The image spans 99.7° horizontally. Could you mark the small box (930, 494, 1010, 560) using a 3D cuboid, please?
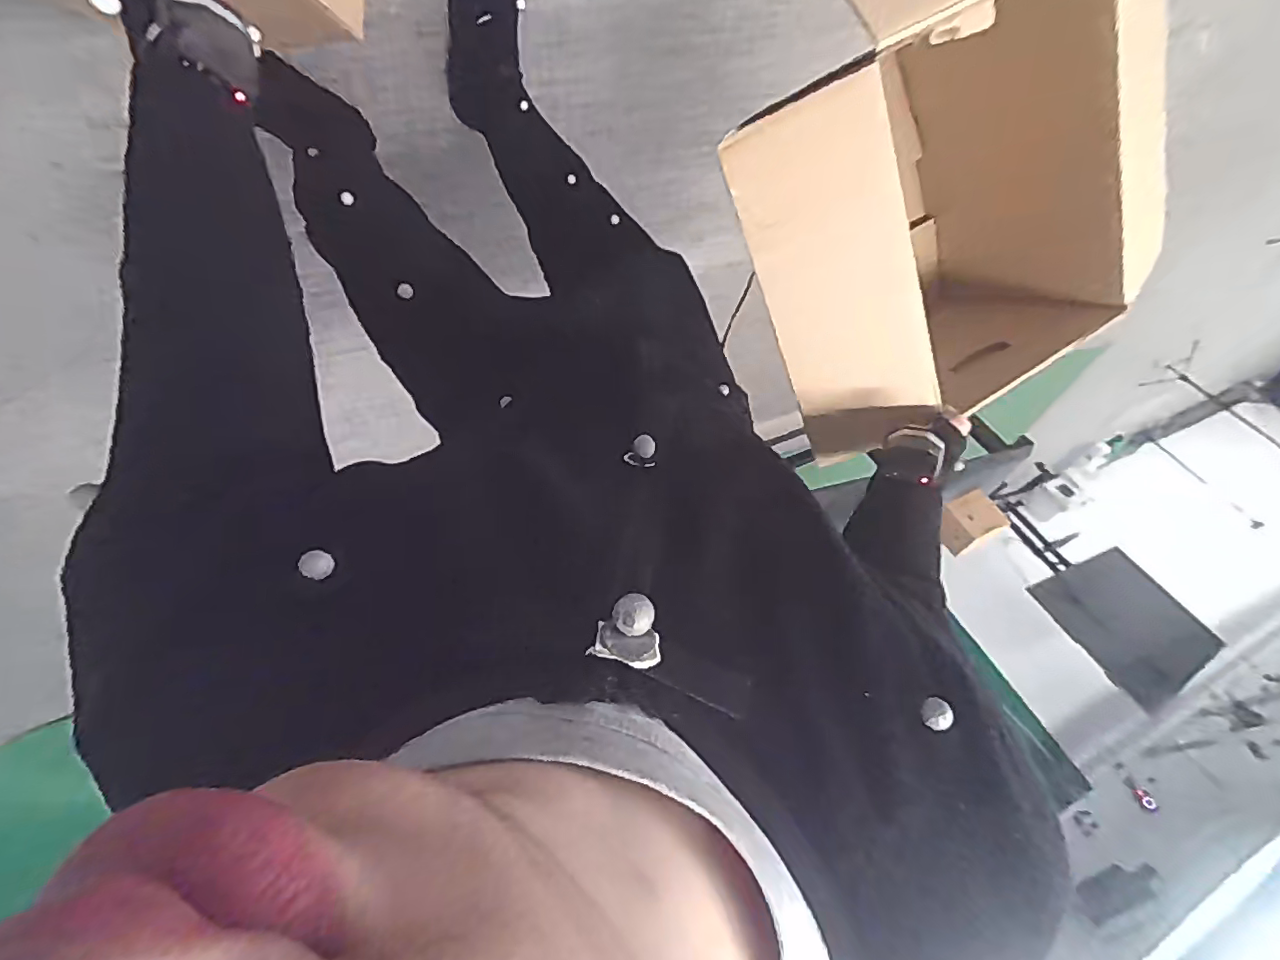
[{"bbox_3d":[1.266,0.175,2.090,0.168,0.176,0.179,-22,151,-9],"label":"small box"}]
